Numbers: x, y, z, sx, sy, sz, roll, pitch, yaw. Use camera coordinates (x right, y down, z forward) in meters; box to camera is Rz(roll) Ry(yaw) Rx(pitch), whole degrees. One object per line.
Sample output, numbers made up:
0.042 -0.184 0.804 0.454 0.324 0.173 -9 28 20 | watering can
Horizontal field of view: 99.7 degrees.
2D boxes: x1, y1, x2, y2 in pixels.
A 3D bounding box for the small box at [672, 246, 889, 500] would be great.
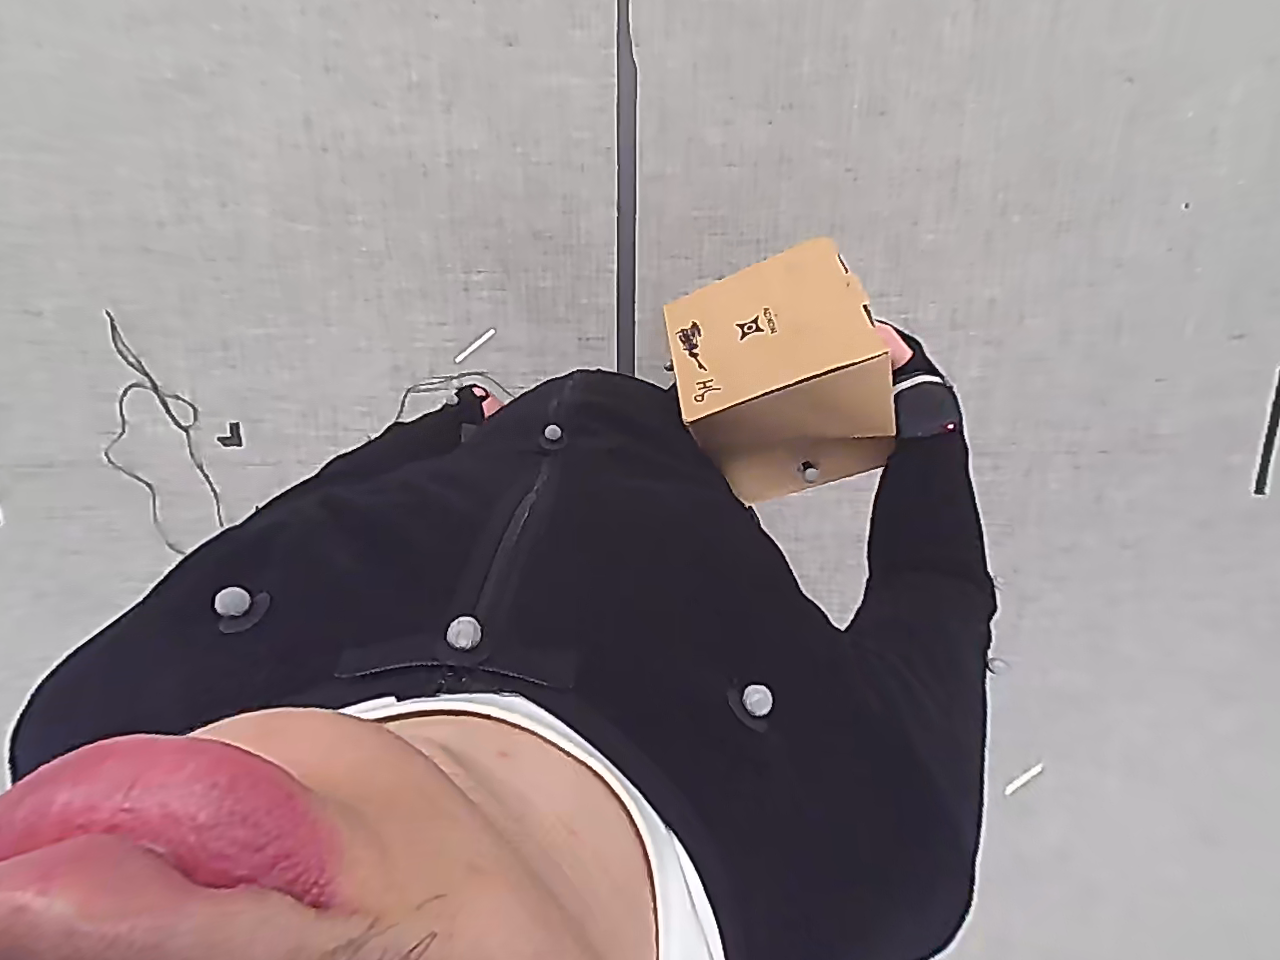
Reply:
0.150 -0.103 0.576 0.179 0.168 0.176 -18 142 17 | small box
